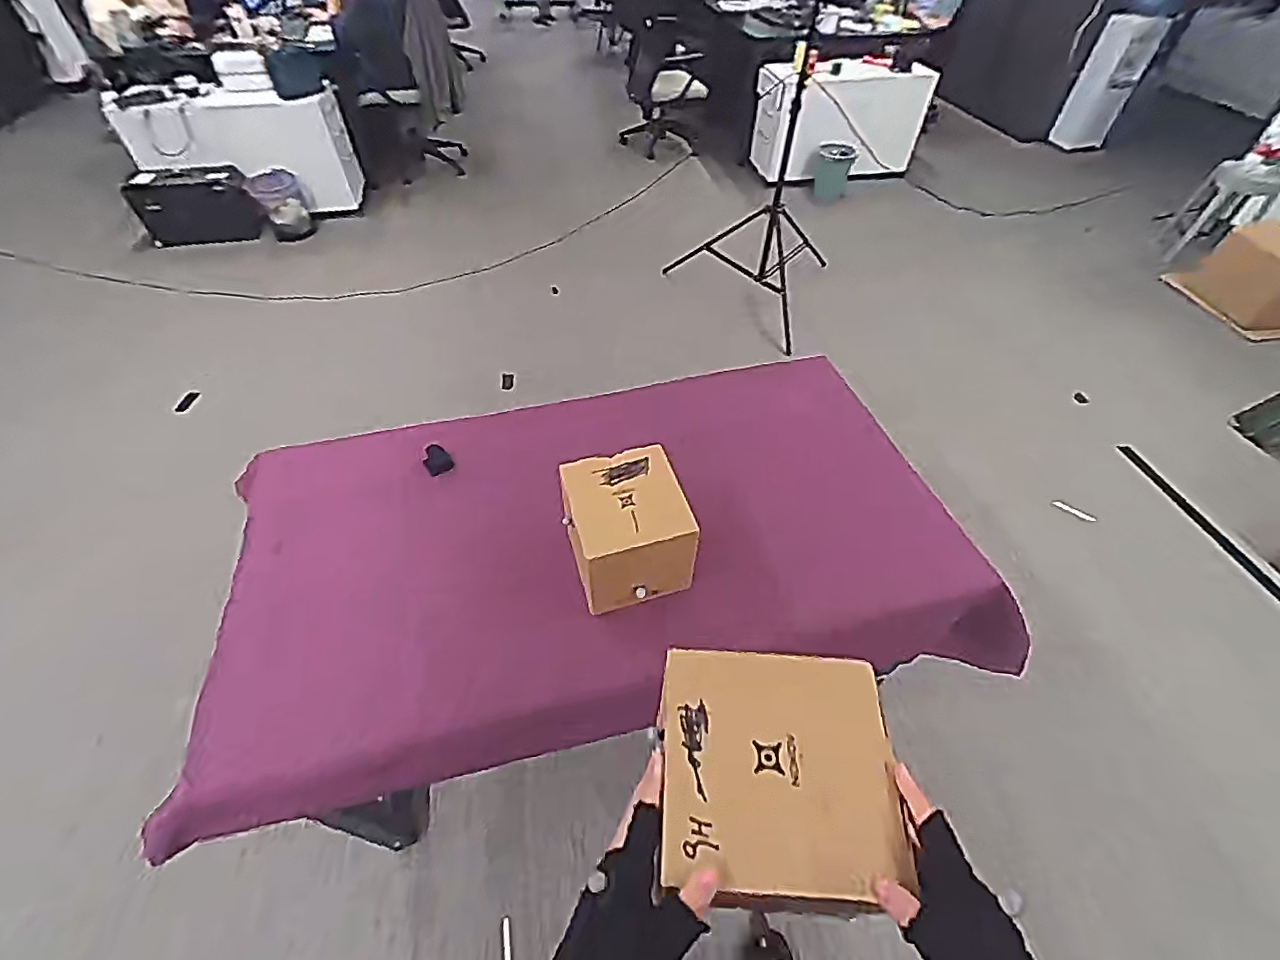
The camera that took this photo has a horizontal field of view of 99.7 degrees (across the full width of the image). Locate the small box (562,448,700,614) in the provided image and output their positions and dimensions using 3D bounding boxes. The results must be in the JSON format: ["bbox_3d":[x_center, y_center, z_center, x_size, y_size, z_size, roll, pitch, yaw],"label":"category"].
[{"bbox_3d":[-0.020,0.080,0.845,0.168,0.176,0.179,-13,51,-12],"label":"small box"}]
